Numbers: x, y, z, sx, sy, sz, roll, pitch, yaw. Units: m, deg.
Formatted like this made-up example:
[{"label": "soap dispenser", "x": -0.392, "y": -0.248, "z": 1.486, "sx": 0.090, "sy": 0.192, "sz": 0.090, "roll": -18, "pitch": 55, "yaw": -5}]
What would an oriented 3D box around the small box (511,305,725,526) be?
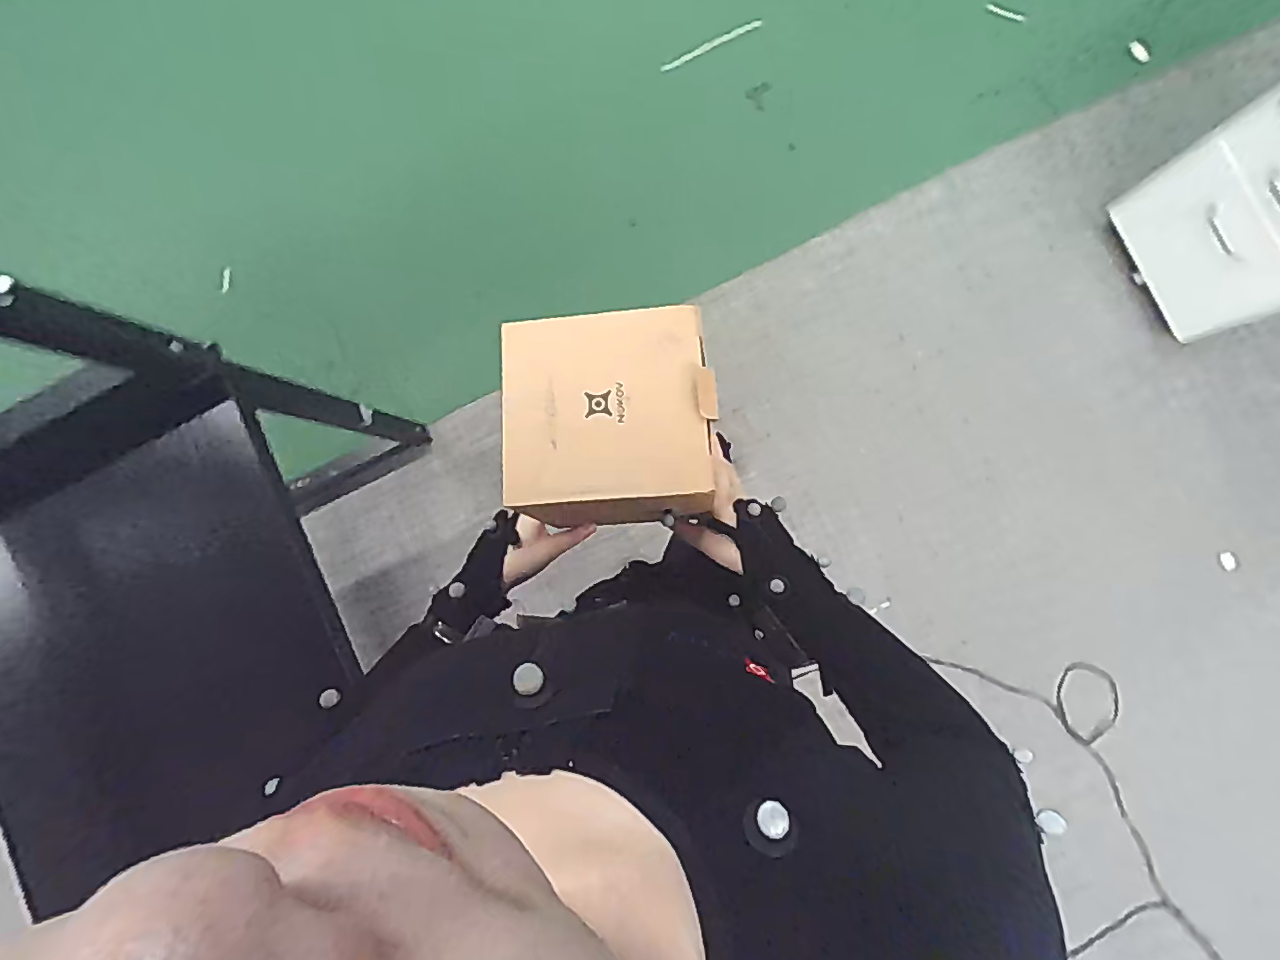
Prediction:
[{"label": "small box", "x": -0.014, "y": -0.048, "z": 0.527, "sx": 0.179, "sy": 0.176, "sz": 0.168, "roll": -4, "pitch": 78, "yaw": 6}]
